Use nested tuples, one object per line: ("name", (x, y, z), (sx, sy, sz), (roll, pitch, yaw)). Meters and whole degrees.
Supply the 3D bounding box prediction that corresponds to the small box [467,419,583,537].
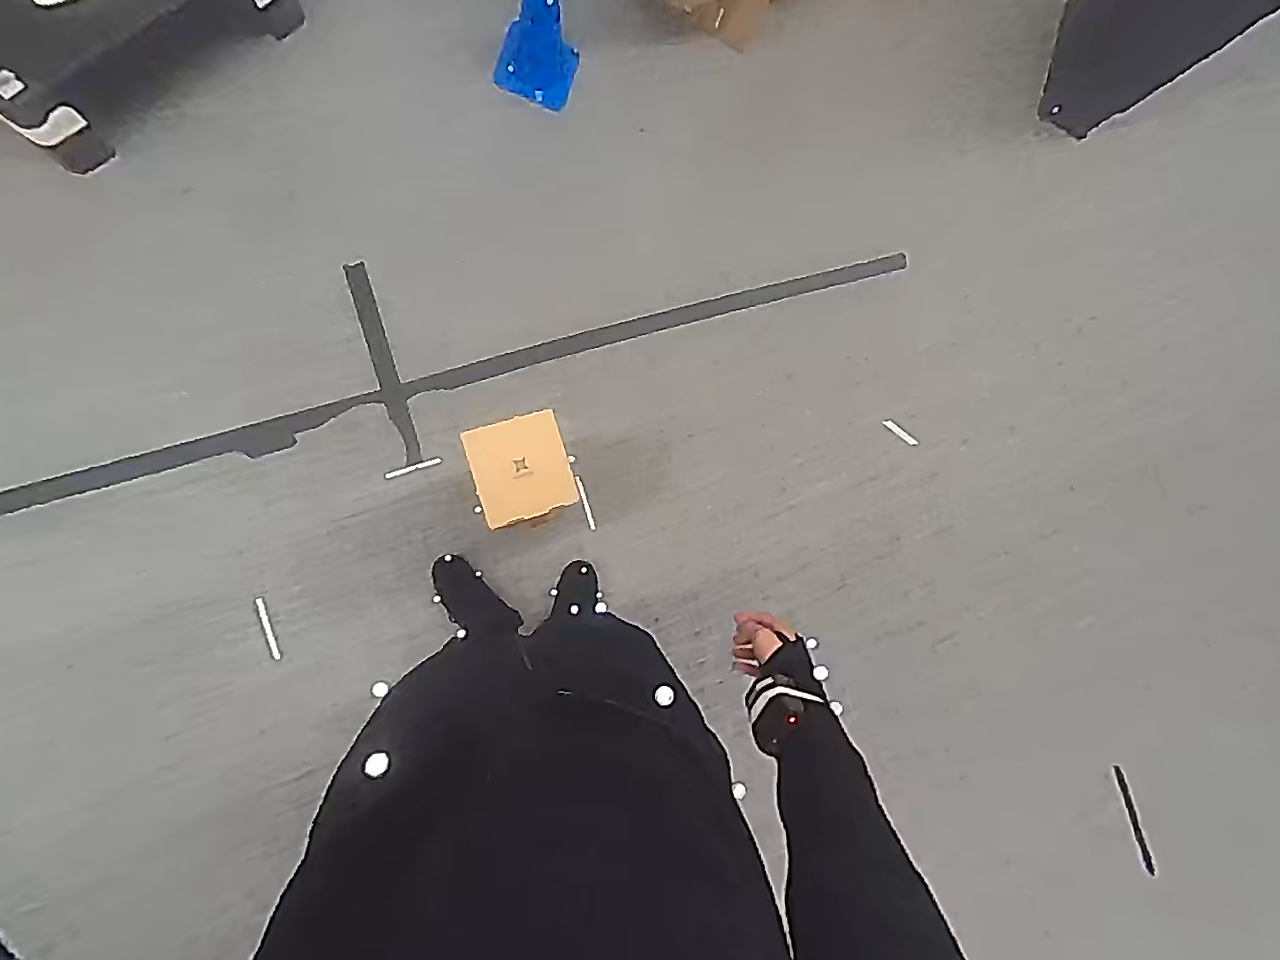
("small box", (-0.219, 0.001, 1.020), (0.168, 0.176, 0.179), (-17, 90, -14))
